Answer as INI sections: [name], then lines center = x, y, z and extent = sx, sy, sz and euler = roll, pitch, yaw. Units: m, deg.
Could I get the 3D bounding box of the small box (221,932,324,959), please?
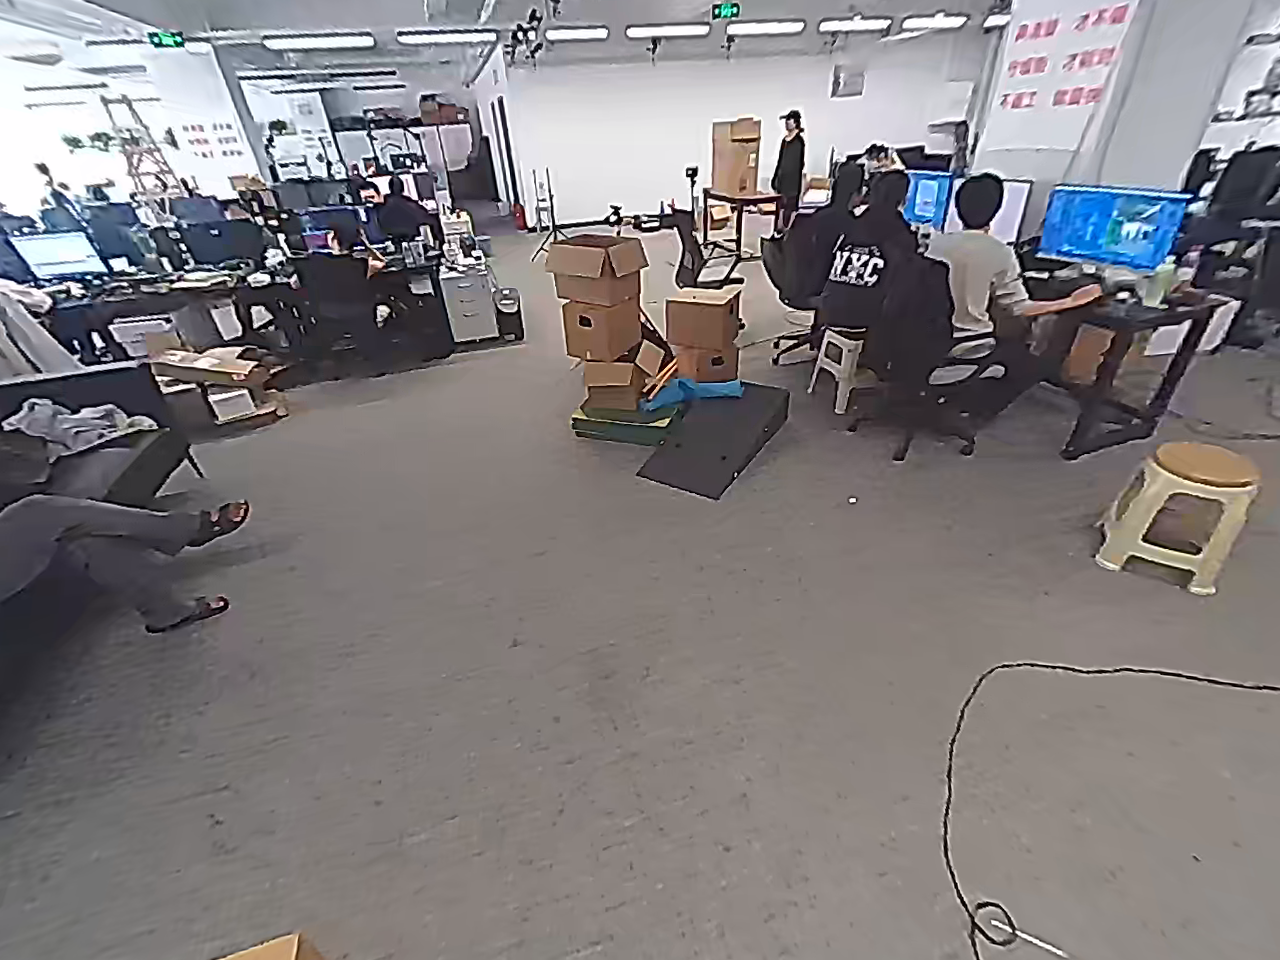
[small box]
center = -0.704, 1.008, 1.011
extent = 0.168, 0.176, 0.179
euler = -12, 32, -13
